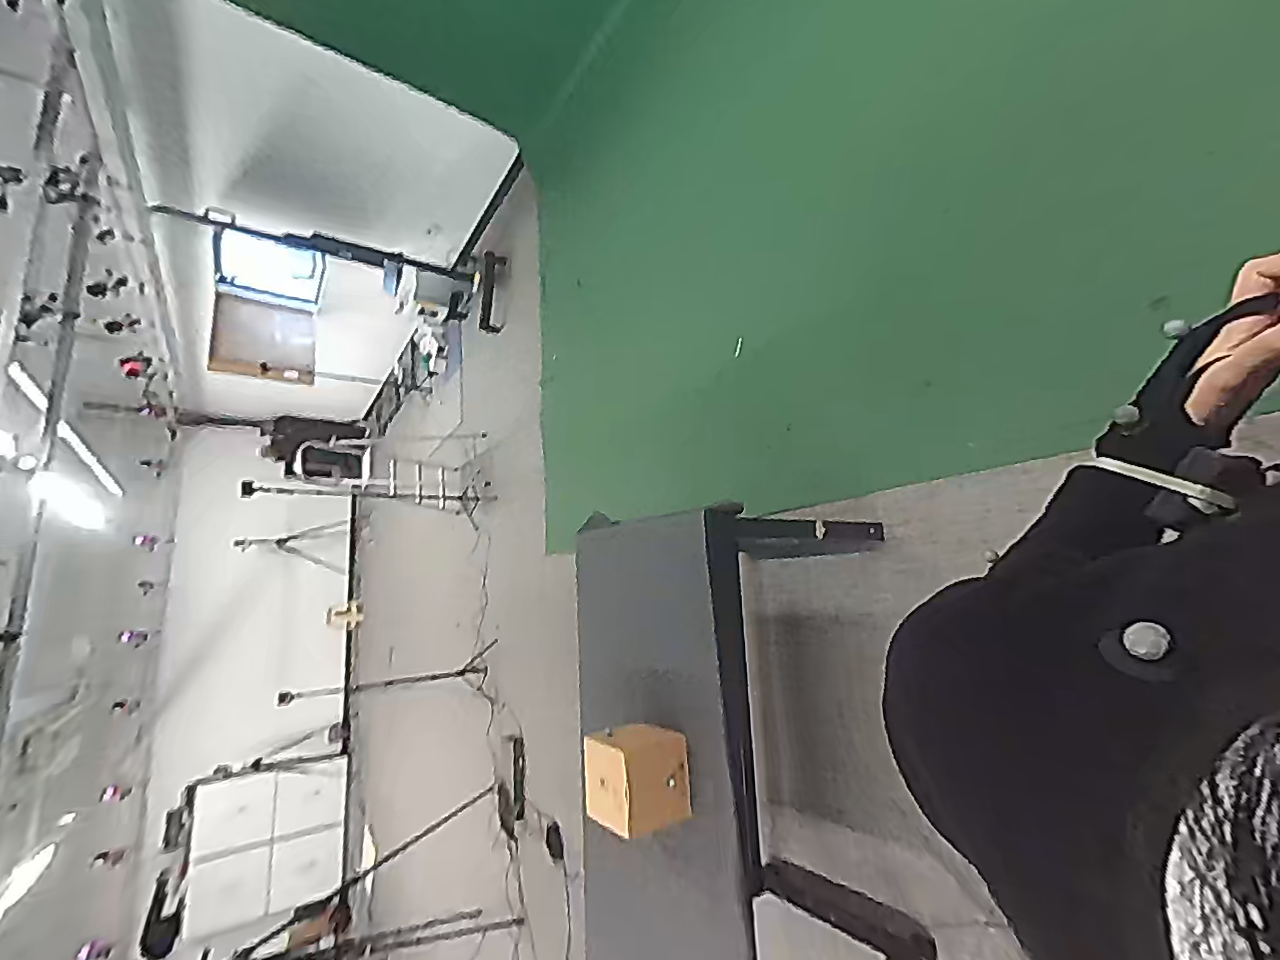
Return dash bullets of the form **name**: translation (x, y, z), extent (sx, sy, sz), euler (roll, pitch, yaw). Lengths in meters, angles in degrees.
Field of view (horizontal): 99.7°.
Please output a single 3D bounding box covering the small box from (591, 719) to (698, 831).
- **small box**: translation (0.008, 0.646, 1.212), extent (0.179, 0.176, 0.168), euler (-18, 73, 53)
